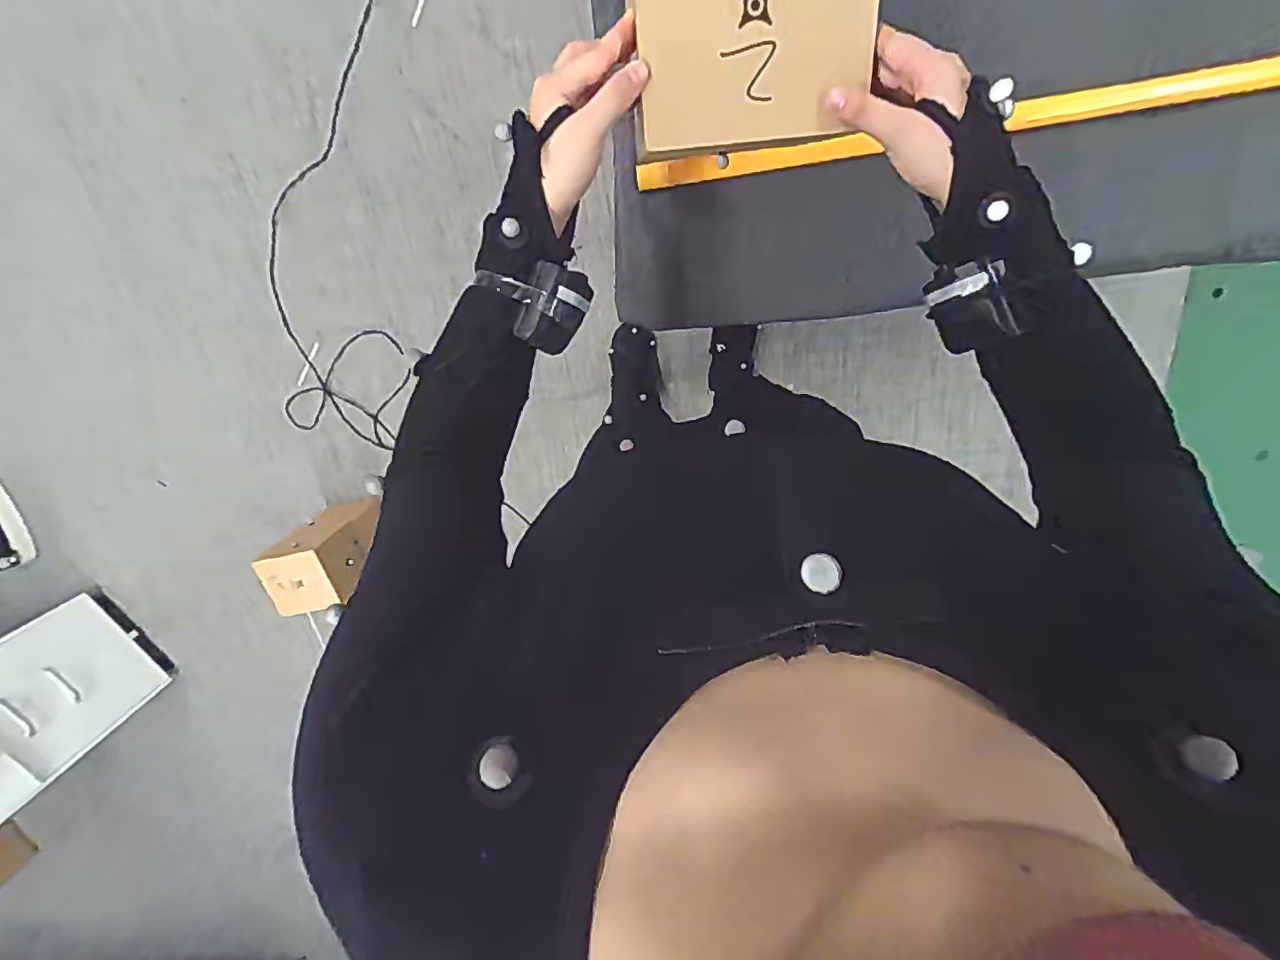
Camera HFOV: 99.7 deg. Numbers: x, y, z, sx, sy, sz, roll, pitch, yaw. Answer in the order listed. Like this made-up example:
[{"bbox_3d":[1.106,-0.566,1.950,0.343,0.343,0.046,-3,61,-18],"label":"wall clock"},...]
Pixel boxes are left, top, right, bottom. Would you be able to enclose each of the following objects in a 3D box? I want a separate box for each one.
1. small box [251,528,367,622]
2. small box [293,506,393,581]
[{"bbox_3d":[-0.842,0.241,1.404,0.179,0.176,0.168,-11,111,8],"label":"small box"},{"bbox_3d":[-0.841,0.187,1.560,0.179,0.176,0.168,-10,111,7],"label":"small box"}]
